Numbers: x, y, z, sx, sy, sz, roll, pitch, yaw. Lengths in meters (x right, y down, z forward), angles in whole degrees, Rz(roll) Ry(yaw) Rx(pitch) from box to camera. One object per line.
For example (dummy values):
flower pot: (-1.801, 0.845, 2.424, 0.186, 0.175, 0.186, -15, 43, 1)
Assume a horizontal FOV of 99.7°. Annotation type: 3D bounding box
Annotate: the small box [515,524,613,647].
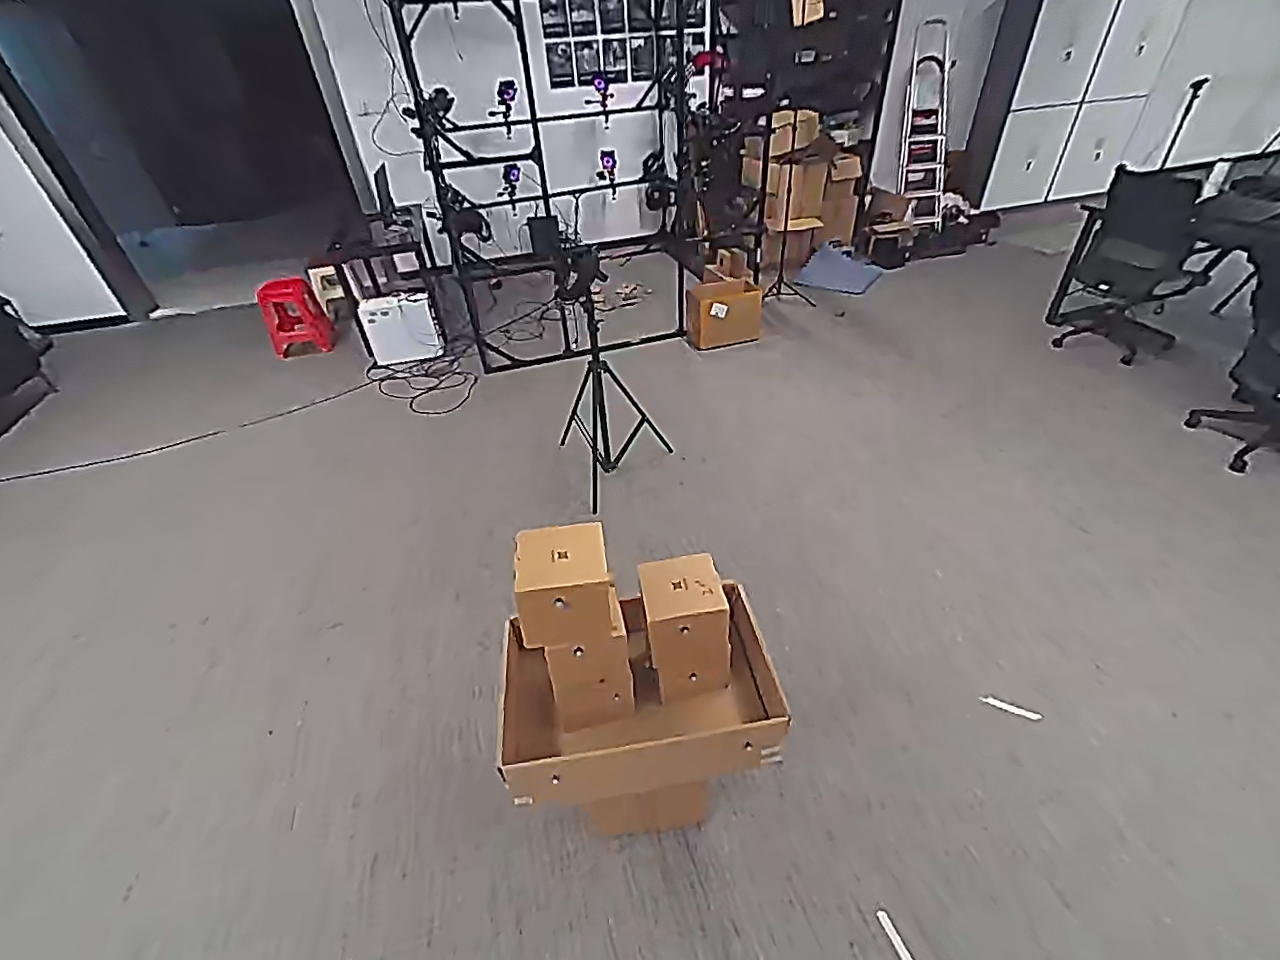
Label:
small box: (-0.148, 0.212, 1.086, 0.179, 0.176, 0.168, -7, 38, -5)
